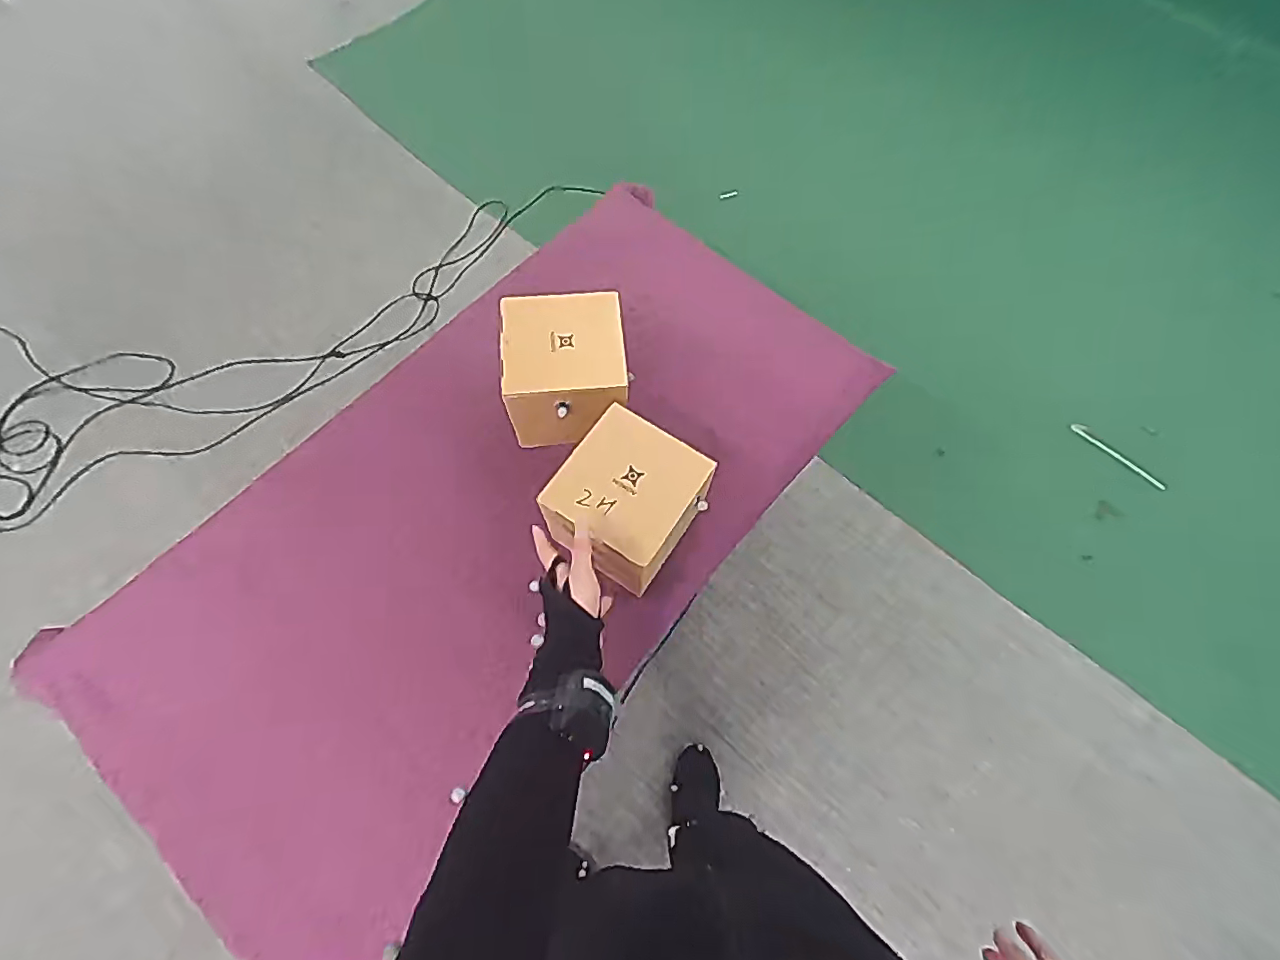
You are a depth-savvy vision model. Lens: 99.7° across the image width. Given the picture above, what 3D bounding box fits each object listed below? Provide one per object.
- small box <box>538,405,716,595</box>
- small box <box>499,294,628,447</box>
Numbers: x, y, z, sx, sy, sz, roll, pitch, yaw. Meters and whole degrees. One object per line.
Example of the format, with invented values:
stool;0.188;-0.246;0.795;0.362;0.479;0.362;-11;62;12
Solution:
small box;-0.017;0.035;0.756;0.168;0.176;0.179;32;71;12
small box;-0.113;-0.163;0.837;0.179;0.176;0.168;-6;69;-3
